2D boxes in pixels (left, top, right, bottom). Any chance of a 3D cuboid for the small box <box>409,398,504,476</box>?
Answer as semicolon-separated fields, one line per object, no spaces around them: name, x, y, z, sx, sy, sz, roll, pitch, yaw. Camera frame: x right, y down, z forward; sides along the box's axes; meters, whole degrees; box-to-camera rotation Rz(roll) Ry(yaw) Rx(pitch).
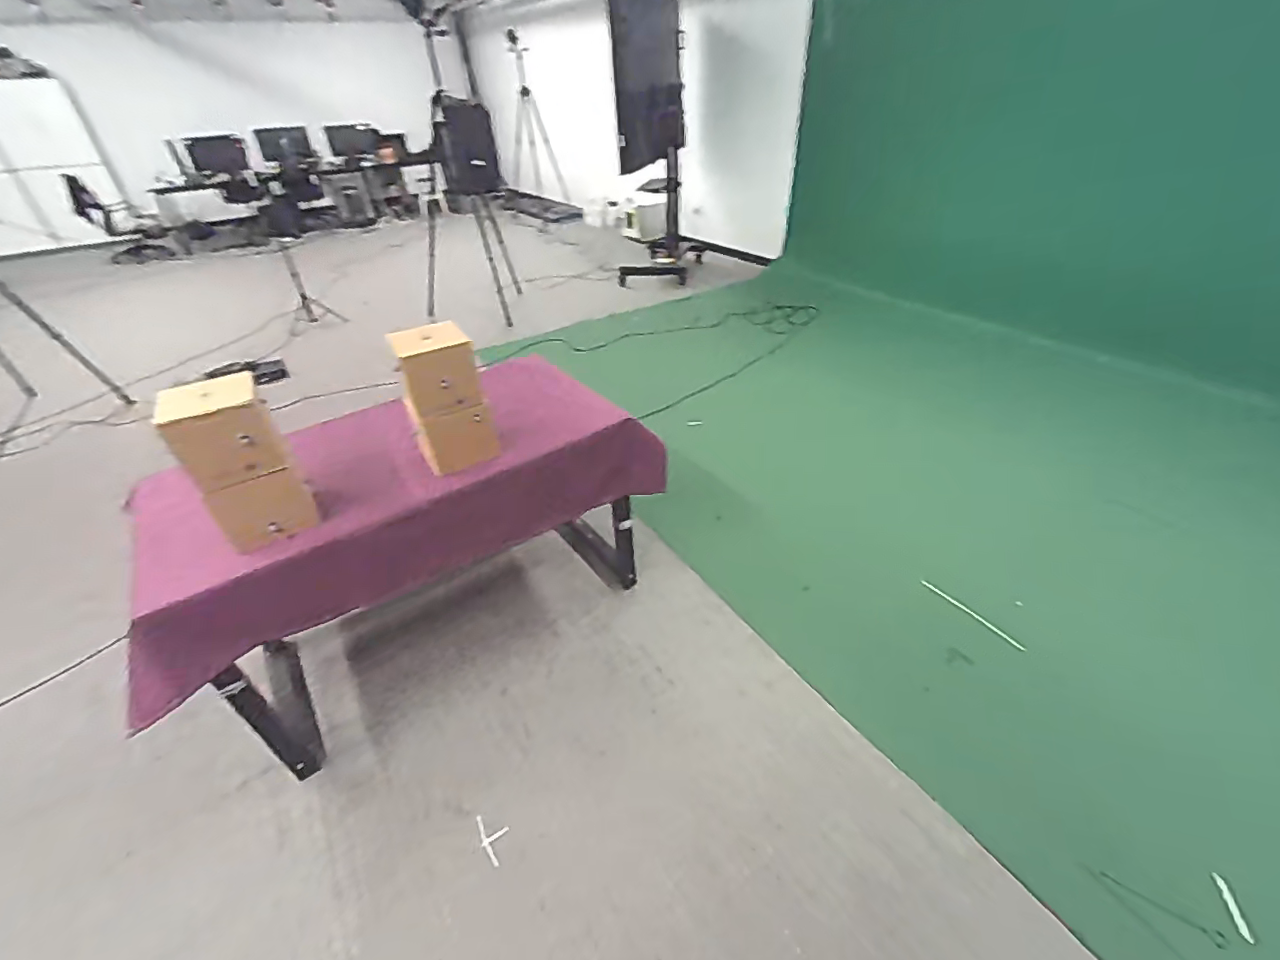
small box;-0.487;-0.136;1.446;0.179;0.176;0.168;-23;40;-25

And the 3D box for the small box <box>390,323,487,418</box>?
small box;-0.500;-0.271;1.352;0.168;0.176;0.179;-22;39;-23

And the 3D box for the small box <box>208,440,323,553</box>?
small box;-0.856;0.036;1.246;0.179;0.176;0.168;-24;40;-26

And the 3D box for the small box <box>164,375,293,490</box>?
small box;-0.866;-0.099;1.154;0.168;0.176;0.179;-23;39;-24
